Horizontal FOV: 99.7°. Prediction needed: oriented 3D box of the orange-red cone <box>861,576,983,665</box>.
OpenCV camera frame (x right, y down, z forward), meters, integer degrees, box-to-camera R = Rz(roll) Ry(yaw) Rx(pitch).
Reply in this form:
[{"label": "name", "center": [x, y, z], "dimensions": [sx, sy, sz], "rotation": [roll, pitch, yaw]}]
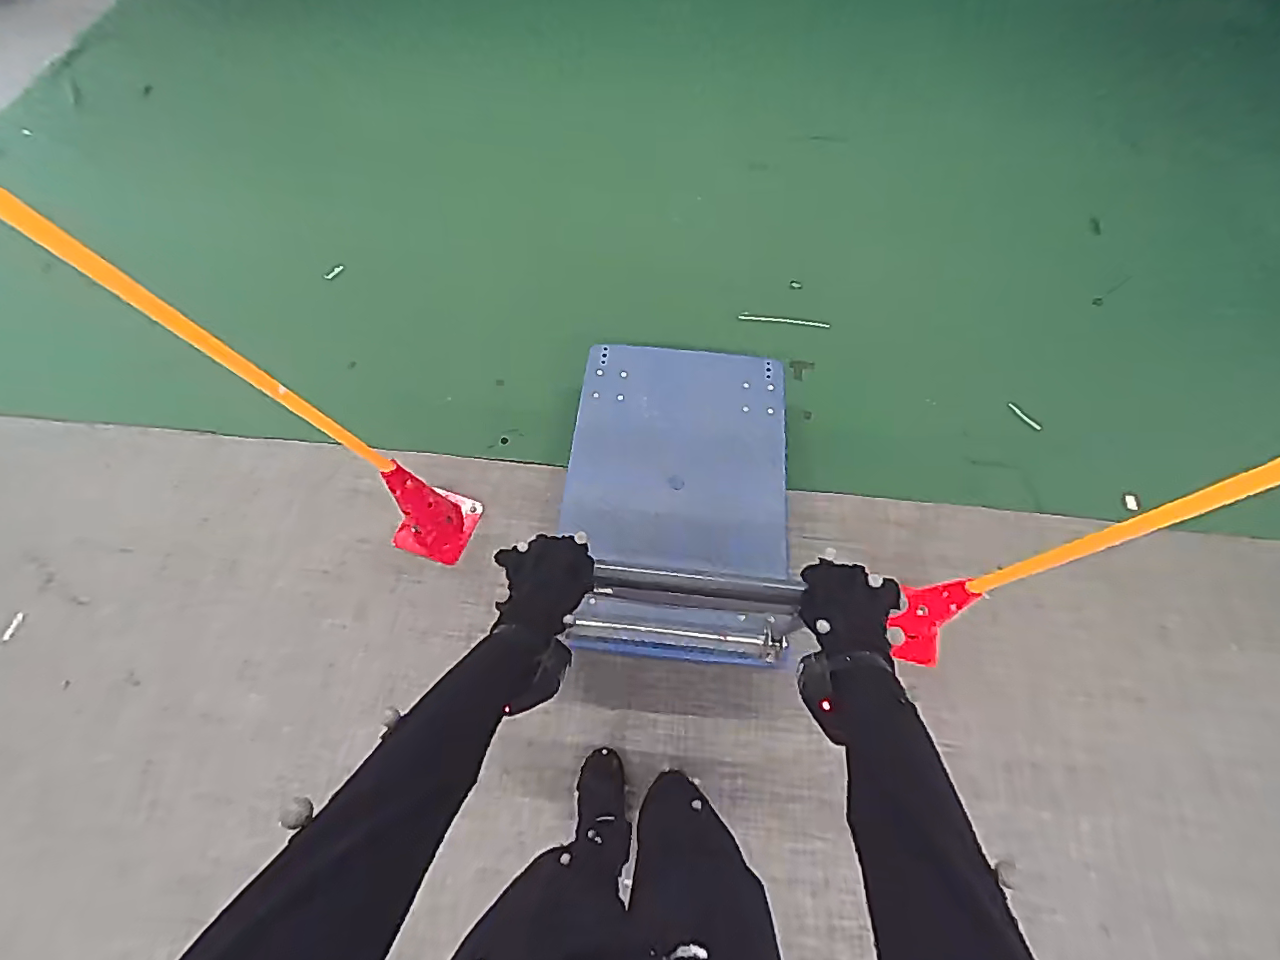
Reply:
[{"label": "orange-red cone", "center": [0.691, 0.294, 1.271], "dimensions": [0.198, 0.360, 0.199], "rotation": [16, 66, 8]}]
